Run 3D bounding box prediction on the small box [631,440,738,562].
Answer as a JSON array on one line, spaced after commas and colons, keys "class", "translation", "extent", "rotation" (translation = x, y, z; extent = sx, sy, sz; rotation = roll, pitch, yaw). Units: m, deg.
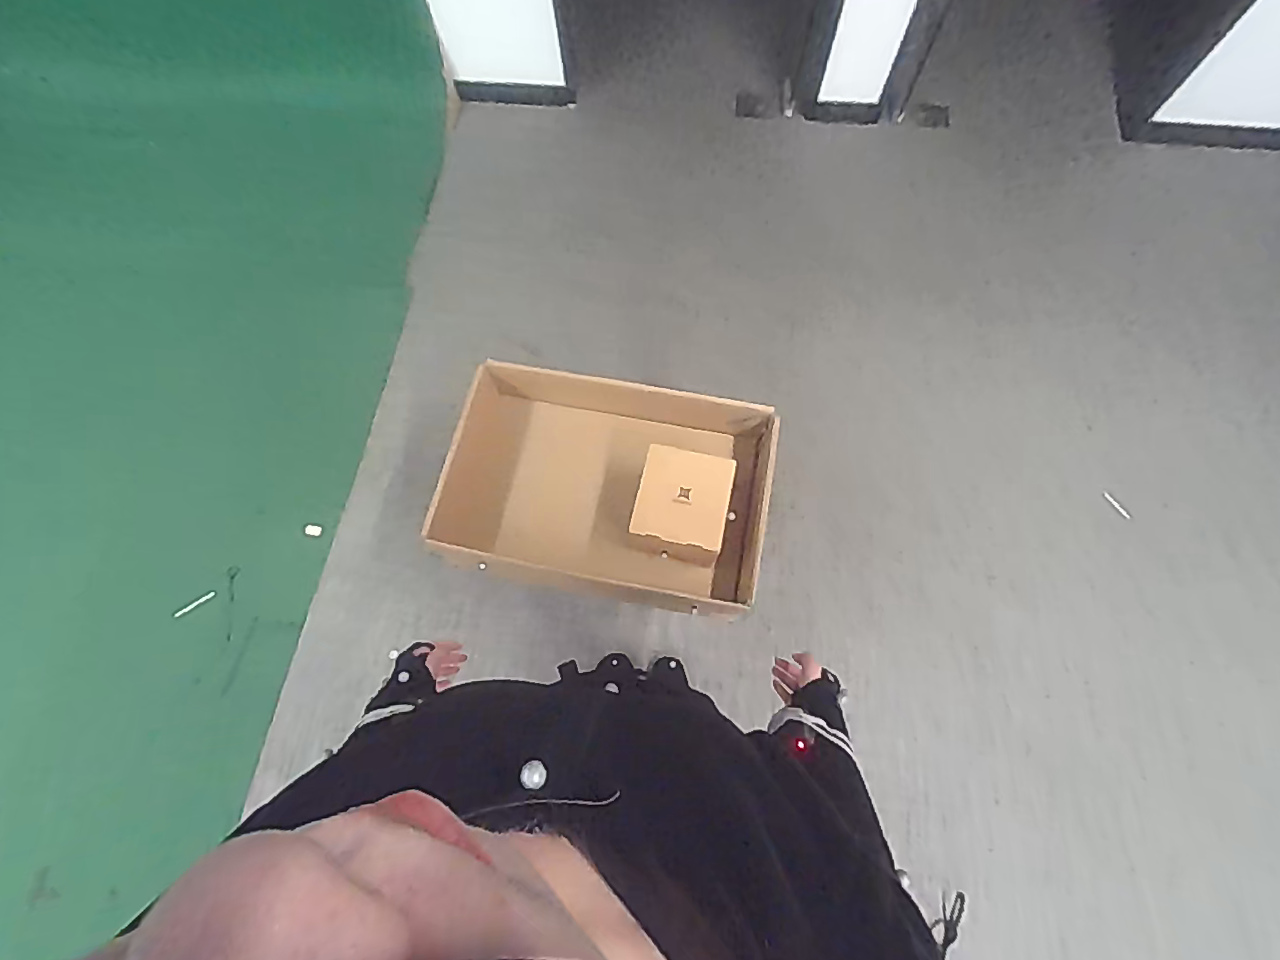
[{"class": "small box", "translation": [0.083, 0.047, 1.046], "extent": [0.168, 0.176, 0.179], "rotation": [12, 73, 6]}]
